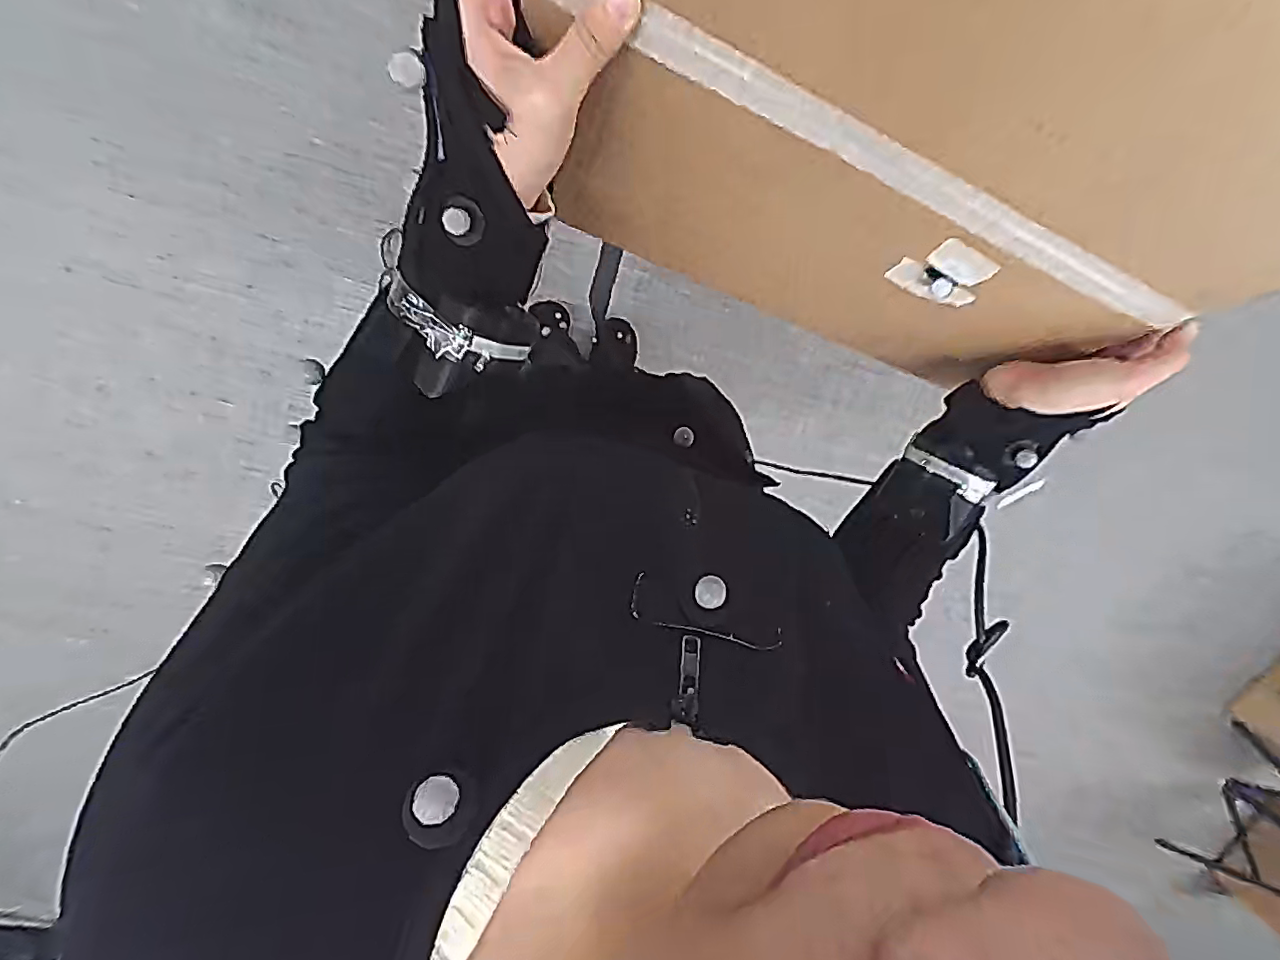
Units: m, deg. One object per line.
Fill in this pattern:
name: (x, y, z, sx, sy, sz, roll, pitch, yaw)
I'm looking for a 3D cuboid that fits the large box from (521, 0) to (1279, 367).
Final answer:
large box: (0.183, -0.308, 0.278, 0.408, 0.320, 0.320, 16, 79, -16)
